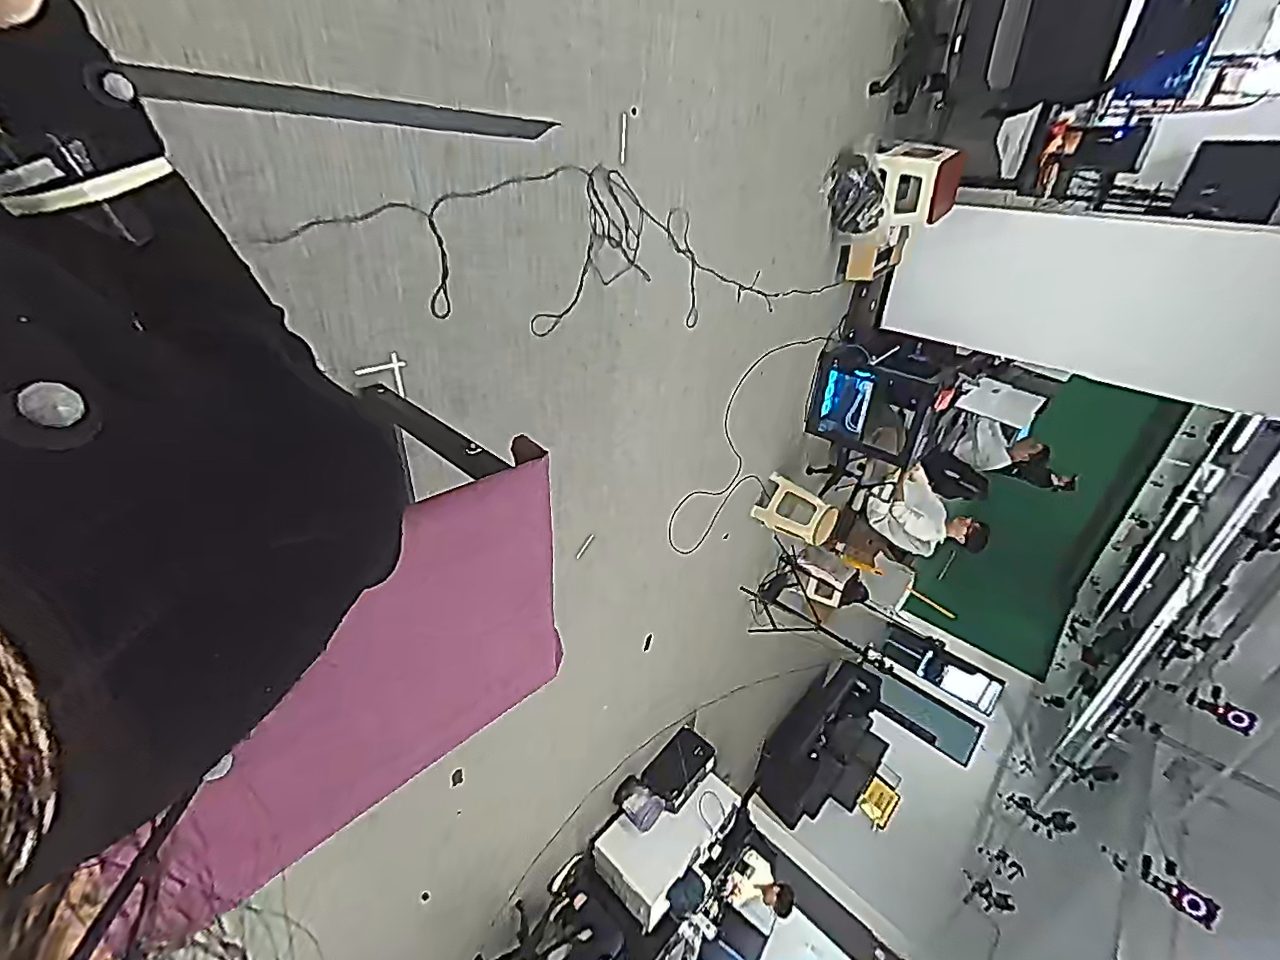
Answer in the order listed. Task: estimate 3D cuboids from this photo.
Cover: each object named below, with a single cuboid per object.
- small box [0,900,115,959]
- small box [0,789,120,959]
[{"bbox_3d":[-0.608,0.556,0.506,0.168,0.176,0.179,-21,129,-44],"label":"small box"},{"bbox_3d":[-0.727,0.497,0.603,0.168,0.176,0.179,-23,129,-42],"label":"small box"}]
